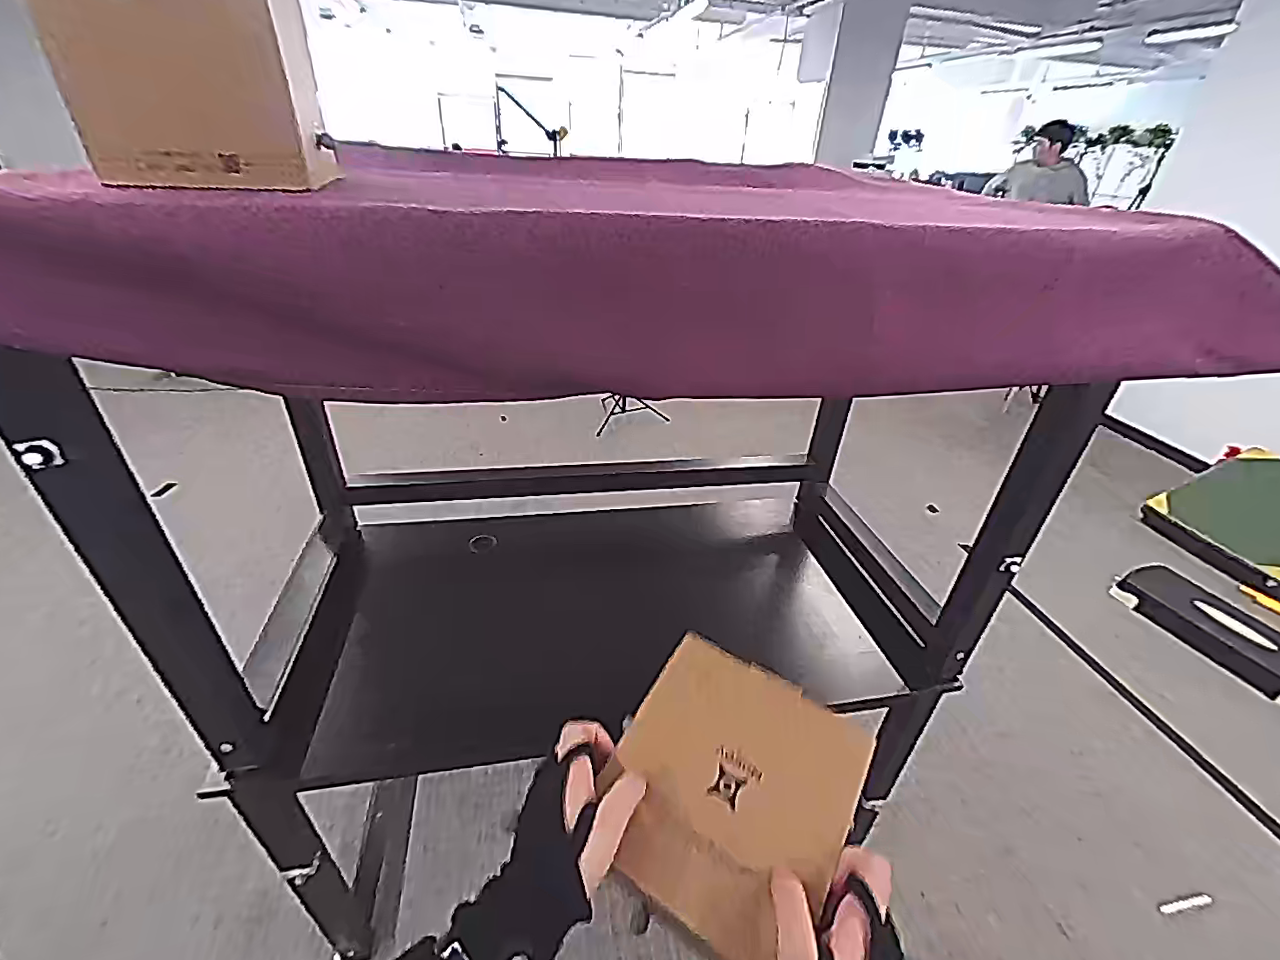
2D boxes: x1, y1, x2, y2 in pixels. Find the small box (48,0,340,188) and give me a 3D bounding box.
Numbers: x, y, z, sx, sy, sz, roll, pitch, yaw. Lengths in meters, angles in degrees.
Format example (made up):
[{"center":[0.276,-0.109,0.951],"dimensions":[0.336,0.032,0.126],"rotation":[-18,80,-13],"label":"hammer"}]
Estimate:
[{"center":[-0.397,-0.379,0.508],"dimensions":[0.168,0.176,0.179],"rotation":[-7,33,-16],"label":"small box"}]
